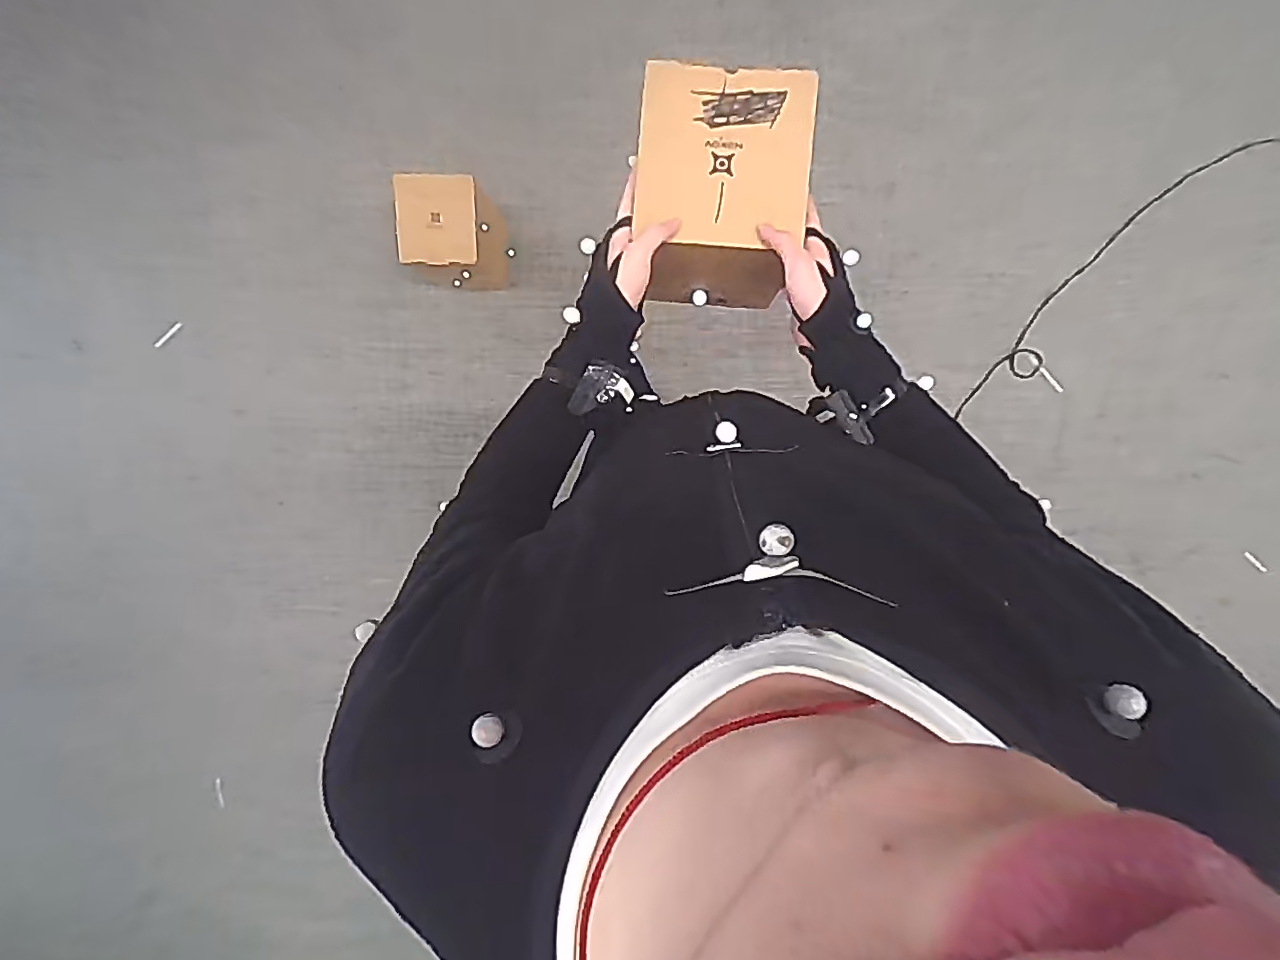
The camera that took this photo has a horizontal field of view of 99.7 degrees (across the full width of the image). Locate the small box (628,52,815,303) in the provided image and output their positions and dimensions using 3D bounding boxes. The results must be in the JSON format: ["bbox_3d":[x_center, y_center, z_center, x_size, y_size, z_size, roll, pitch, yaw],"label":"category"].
[{"bbox_3d":[0.079,-0.313,0.590,0.168,0.176,0.179,5,91,3],"label":"small box"}]

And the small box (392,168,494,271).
[{"bbox_3d":[-0.428,-0.568,1.201,0.168,0.176,0.179,0,100,-1],"label":"small box"}]

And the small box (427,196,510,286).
[{"bbox_3d":[-0.429,-0.598,1.360,0.168,0.176,0.179,2,101,0],"label":"small box"}]
